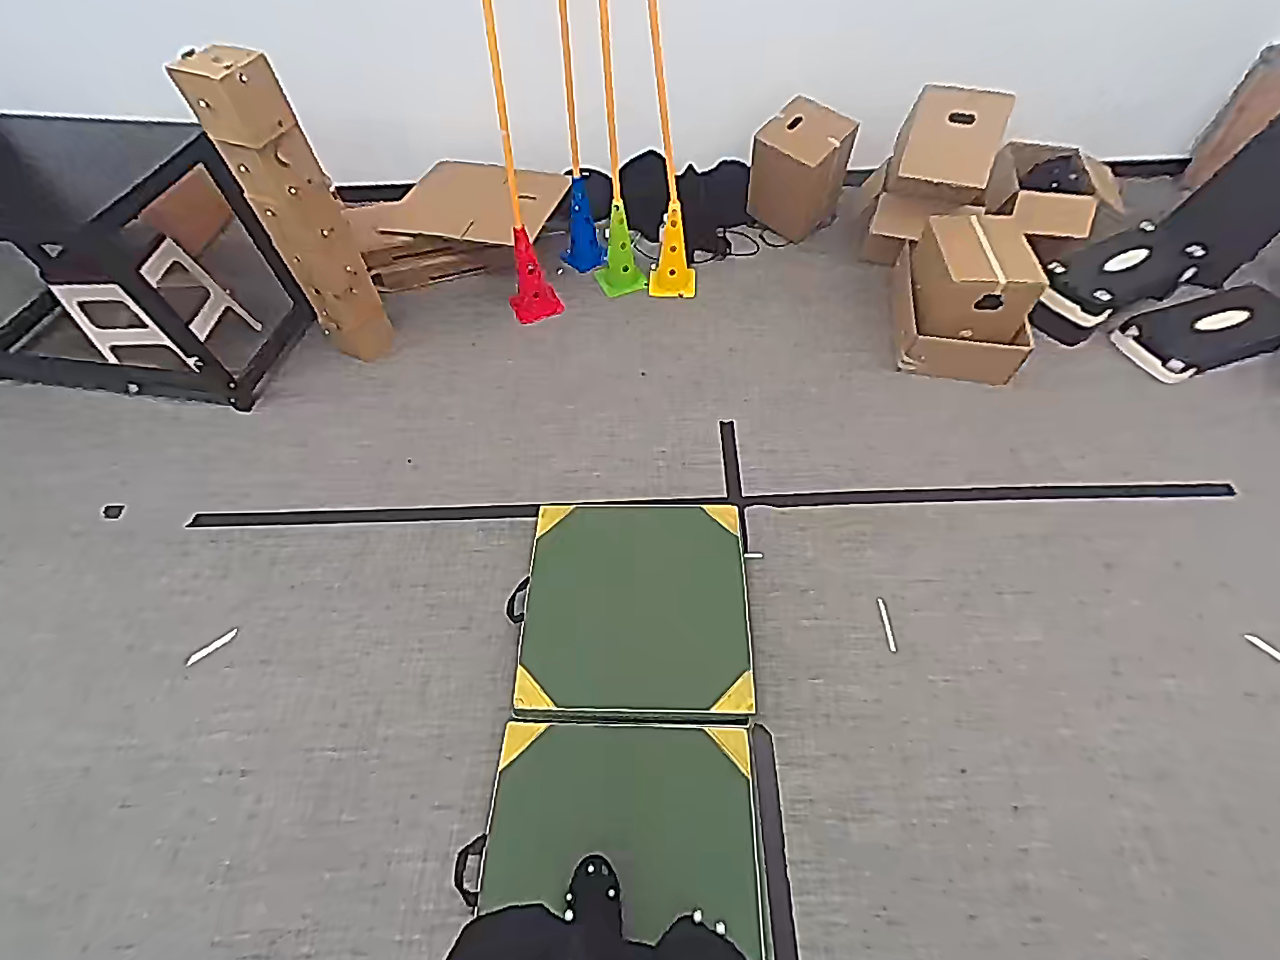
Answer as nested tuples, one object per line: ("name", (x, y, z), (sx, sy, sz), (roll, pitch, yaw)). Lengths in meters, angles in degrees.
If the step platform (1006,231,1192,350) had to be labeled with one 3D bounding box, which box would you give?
("step platform", (1.863, -0.778, 2.195), (0.684, 0.204, 0.286), (-25, 59, -15))
